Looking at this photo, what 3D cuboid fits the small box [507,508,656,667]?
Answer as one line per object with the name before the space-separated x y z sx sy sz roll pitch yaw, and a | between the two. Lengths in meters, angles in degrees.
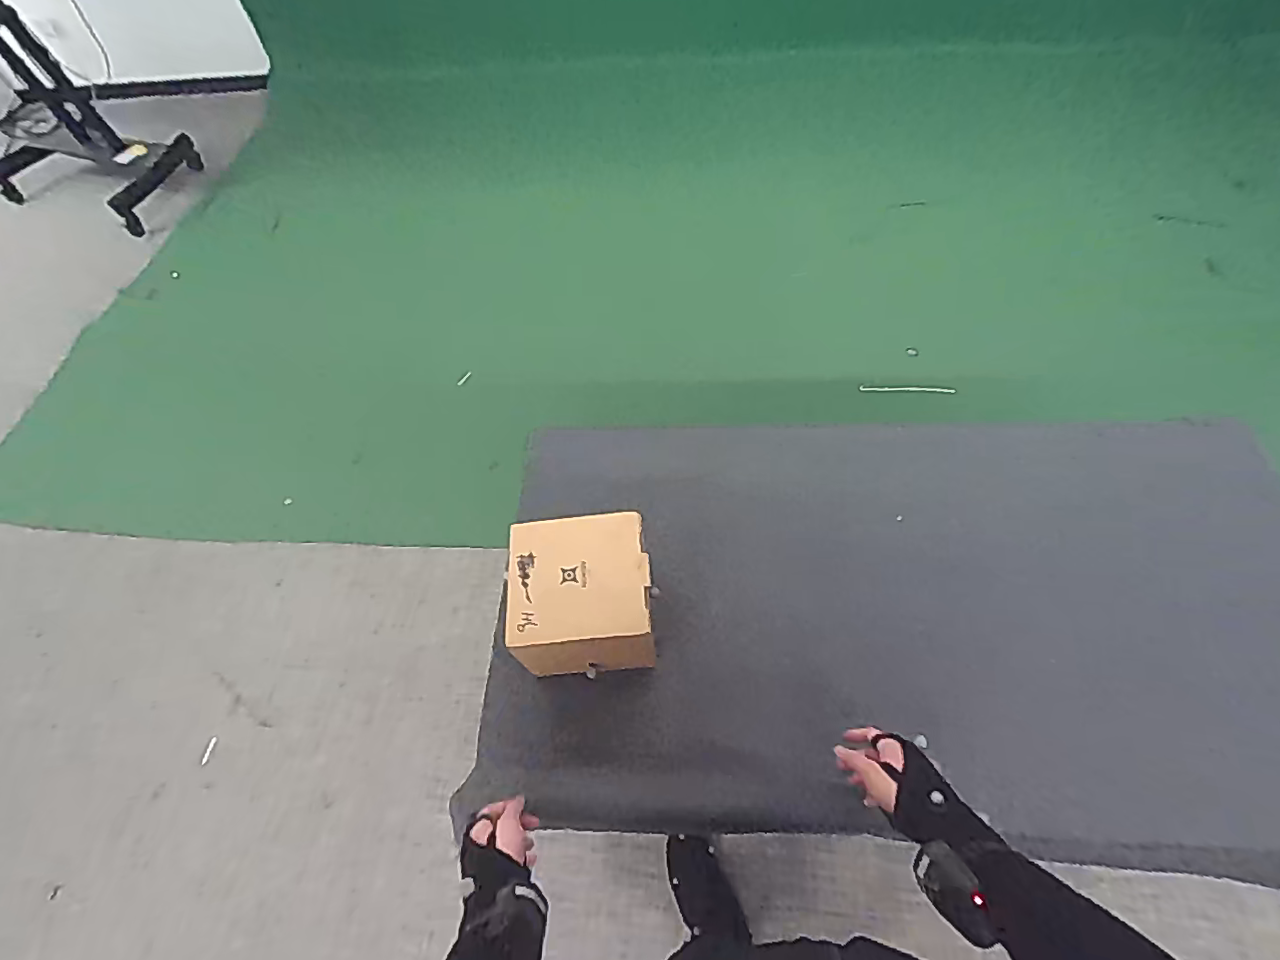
small box | -0.073 0.152 0.739 0.179 0.176 0.168 -4 59 -1
